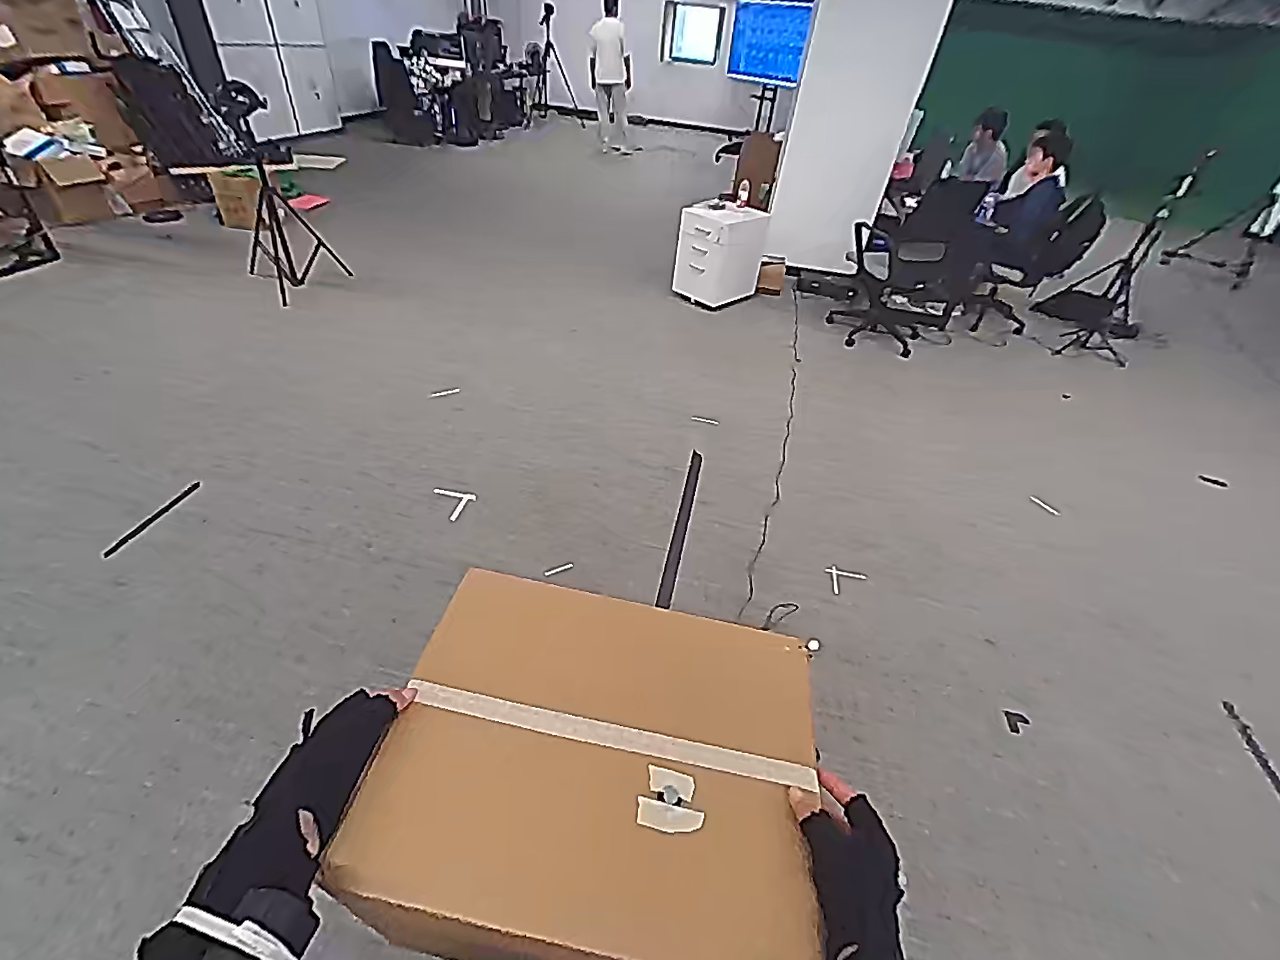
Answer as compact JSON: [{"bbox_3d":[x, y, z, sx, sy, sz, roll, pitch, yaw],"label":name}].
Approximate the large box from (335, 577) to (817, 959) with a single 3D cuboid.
[{"bbox_3d":[-0.051,0.362,0.637,0.408,0.320,0.320,12,43,3],"label":"large box"}]
